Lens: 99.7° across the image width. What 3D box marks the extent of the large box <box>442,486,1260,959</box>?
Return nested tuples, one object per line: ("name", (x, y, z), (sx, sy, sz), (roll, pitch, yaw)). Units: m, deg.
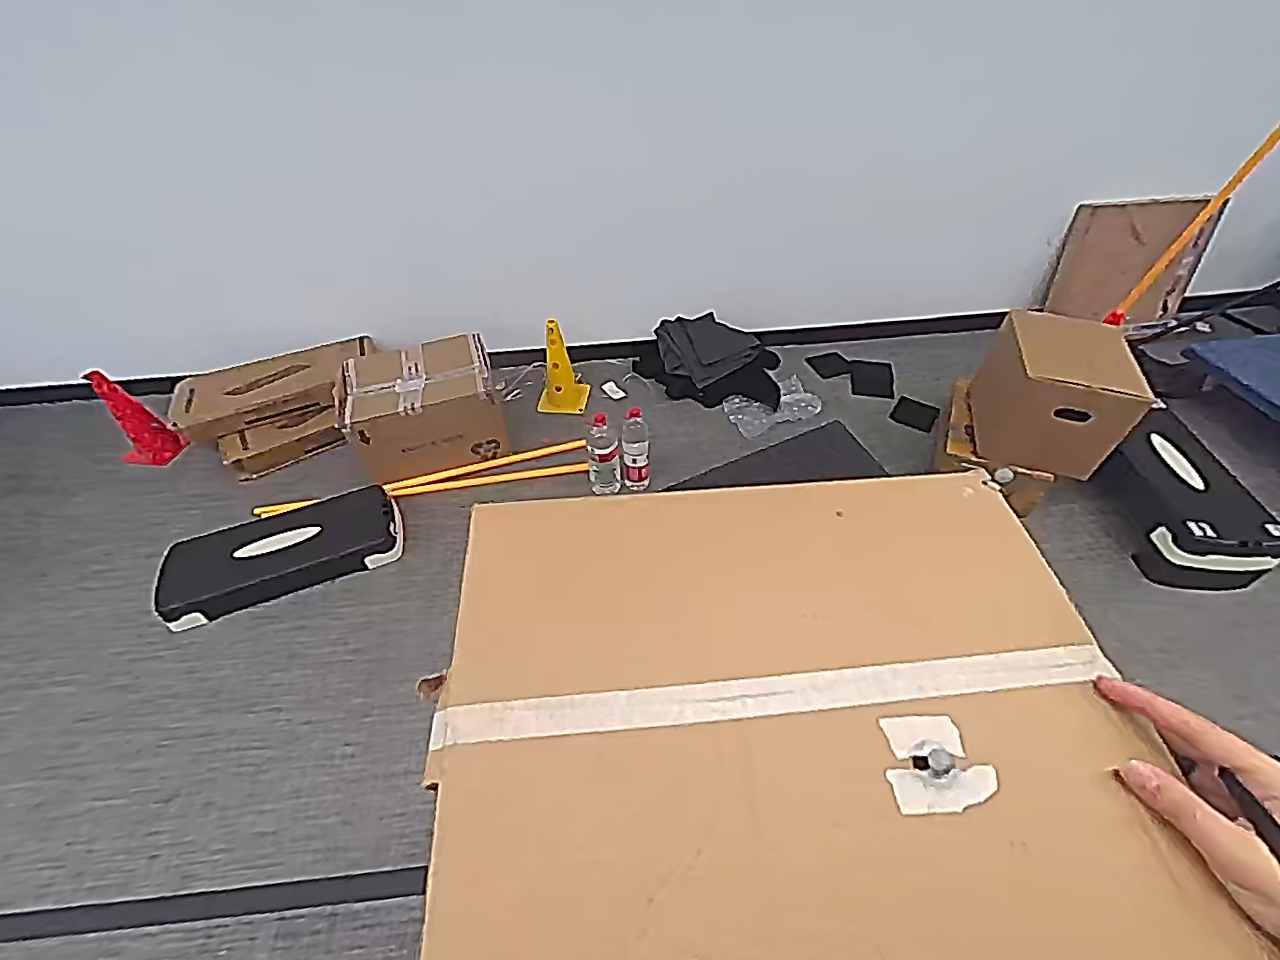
("large box", (0.085, 0.230, 0.449), (0.408, 0.320, 0.320), (-3, 53, -5))
